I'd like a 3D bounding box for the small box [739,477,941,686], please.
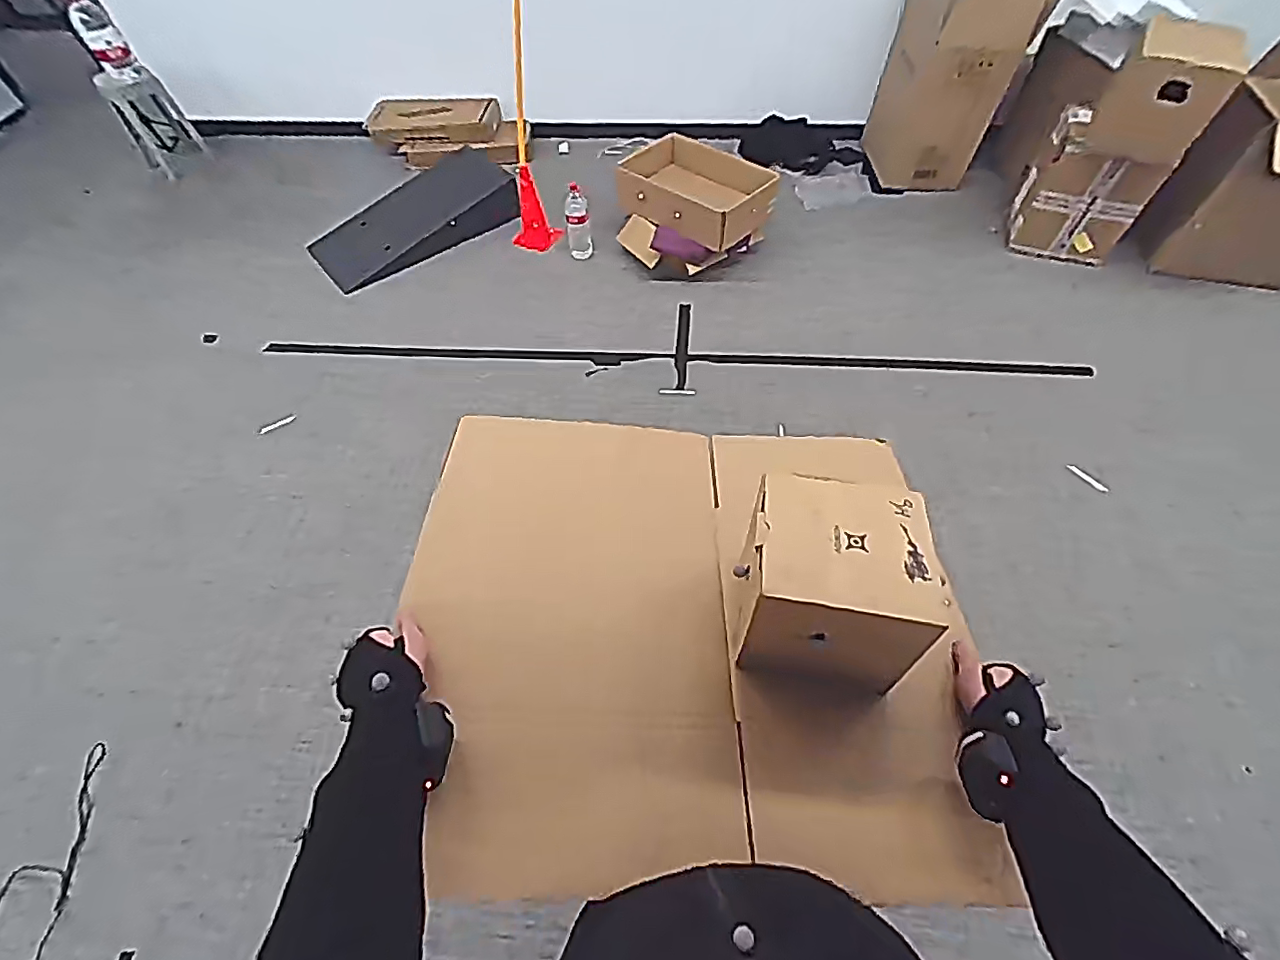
[{"bbox_3d":[0.213,0.120,0.626,0.179,0.176,0.168,7,50,7],"label":"small box"}]
